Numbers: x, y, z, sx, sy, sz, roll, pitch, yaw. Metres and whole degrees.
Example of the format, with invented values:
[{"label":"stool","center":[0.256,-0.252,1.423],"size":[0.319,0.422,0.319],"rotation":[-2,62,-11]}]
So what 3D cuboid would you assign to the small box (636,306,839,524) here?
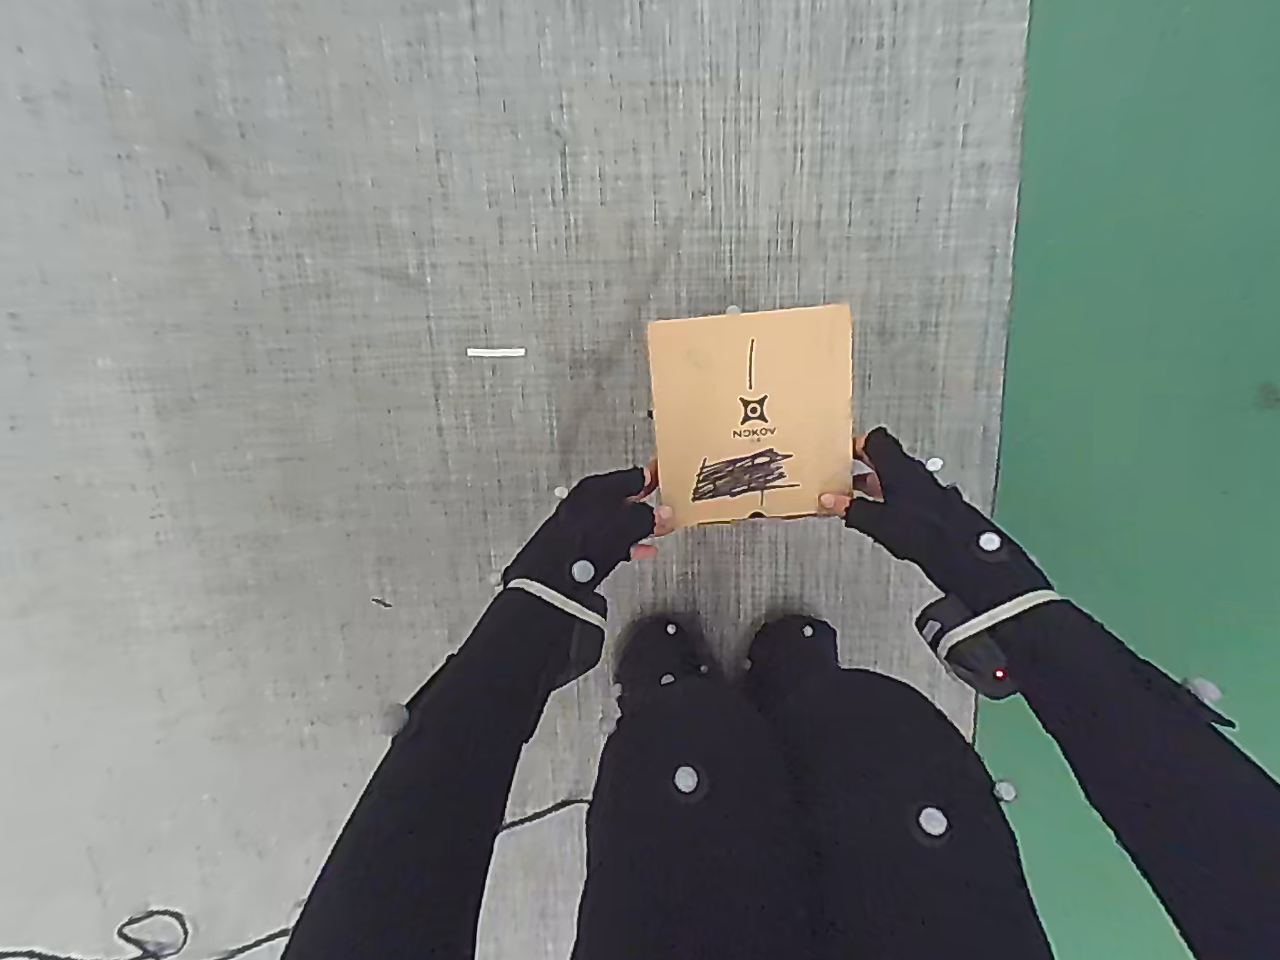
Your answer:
[{"label":"small box","center":[0.087,-0.067,0.531],"size":[0.168,0.176,0.179],"rotation":[-4,101,3]}]
